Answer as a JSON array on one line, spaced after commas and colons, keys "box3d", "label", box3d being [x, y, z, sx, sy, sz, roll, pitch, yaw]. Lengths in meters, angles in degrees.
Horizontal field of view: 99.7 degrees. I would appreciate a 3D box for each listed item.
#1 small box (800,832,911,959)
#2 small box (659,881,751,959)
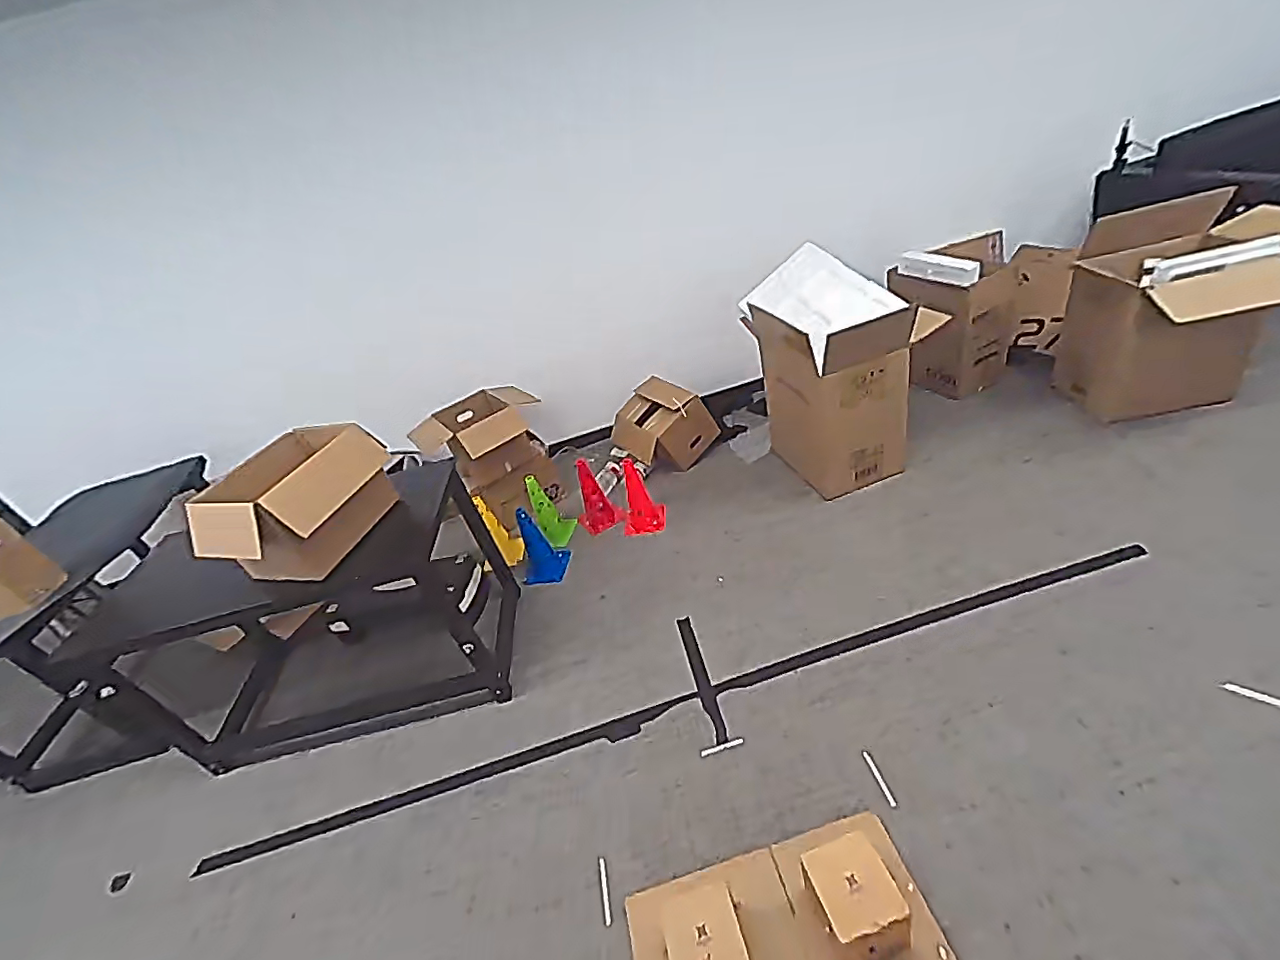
[{"box3d": [0.481, 0.950, 1.221, 0.168, 0.176, 0.179, -20, 34, -5], "label": "small box"}, {"box3d": [0.153, 1.050, 1.206, 0.168, 0.176, 0.179, -19, 34, -2], "label": "small box"}]
